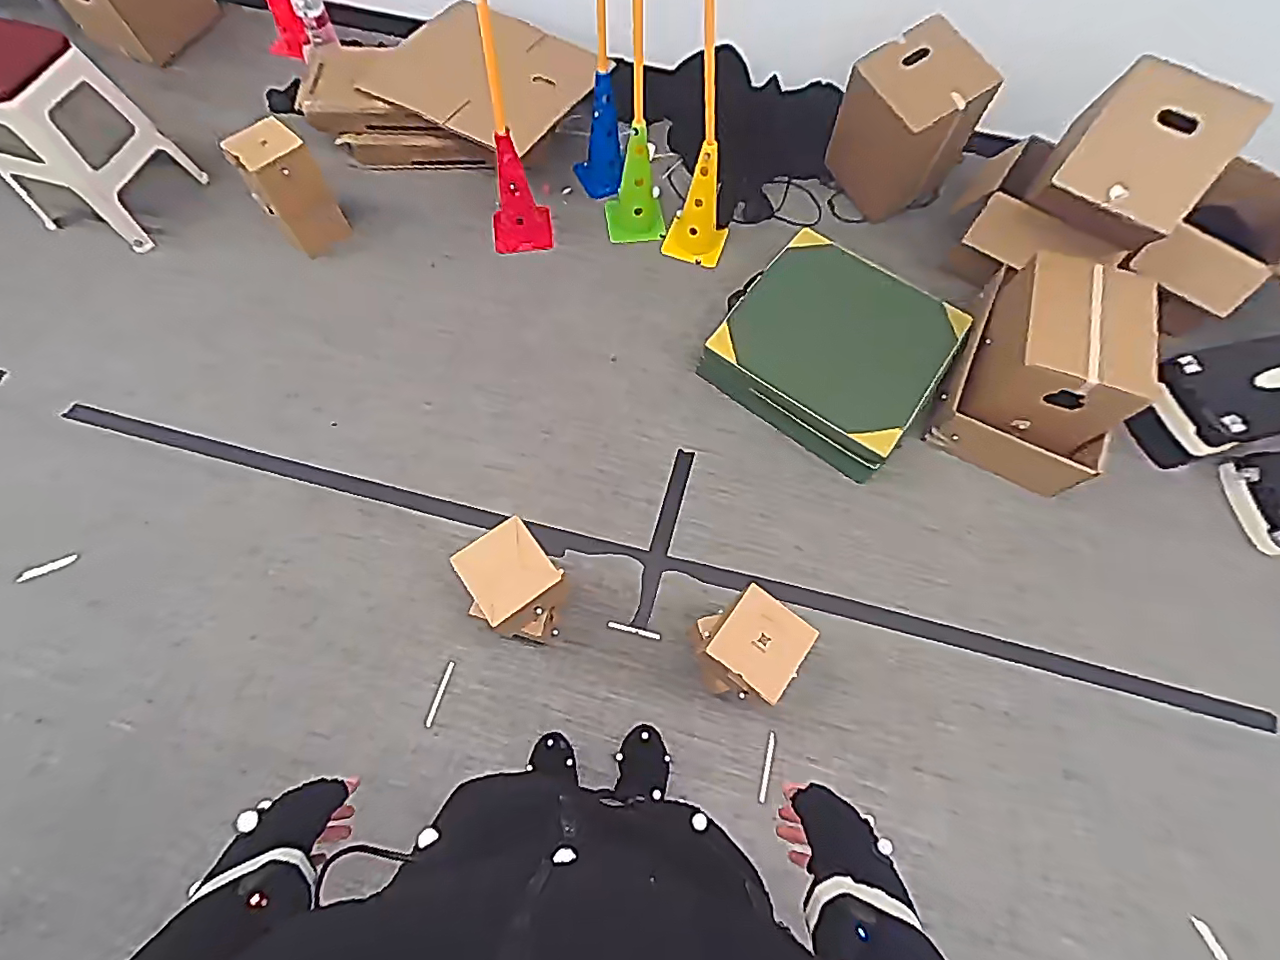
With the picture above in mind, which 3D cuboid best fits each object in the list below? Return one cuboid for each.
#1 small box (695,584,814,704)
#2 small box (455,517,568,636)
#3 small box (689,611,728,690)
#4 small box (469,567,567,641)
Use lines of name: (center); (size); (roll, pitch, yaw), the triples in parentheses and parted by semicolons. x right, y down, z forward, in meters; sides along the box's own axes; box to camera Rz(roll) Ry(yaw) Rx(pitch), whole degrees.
small box: (0.233, 0.353, 1.152); (0.168, 0.176, 0.179); (38, 70, 10)
small box: (-0.279, 0.213, 1.183); (0.168, 0.176, 0.179); (-35, 72, -16)
small box: (0.224, 0.404, 1.308); (0.179, 0.176, 0.168); (-13, 70, -8)
small box: (-0.289, 0.289, 1.332); (0.179, 0.176, 0.168); (17, 67, 5)
